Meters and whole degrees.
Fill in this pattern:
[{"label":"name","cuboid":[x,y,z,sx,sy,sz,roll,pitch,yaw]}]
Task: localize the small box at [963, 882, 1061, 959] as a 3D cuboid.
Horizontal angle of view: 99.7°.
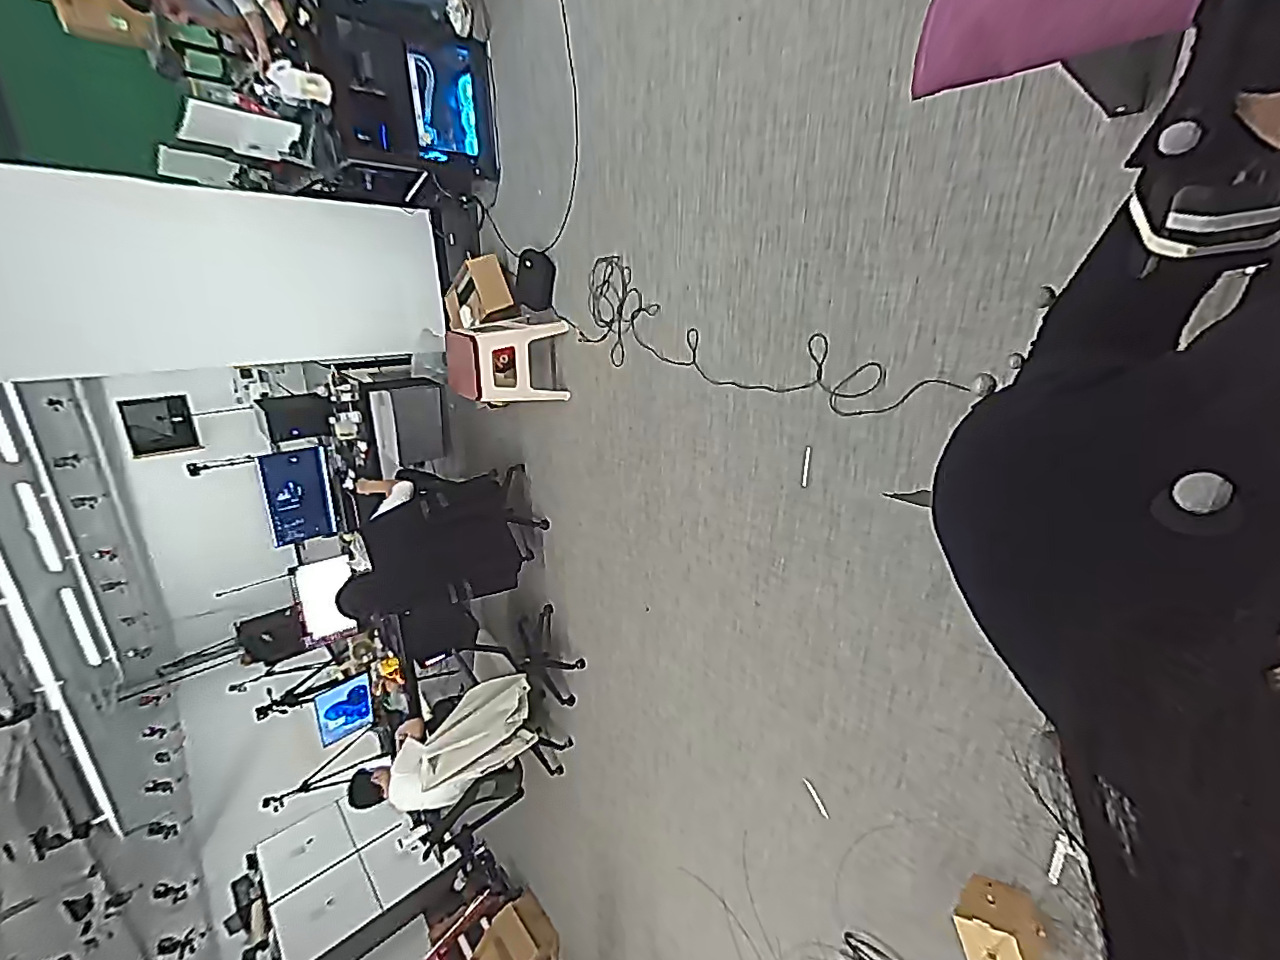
[{"label":"small box","cuboid":[1.062,1.306,1.544,0.168,0.176,0.179,-21,86,51]}]
